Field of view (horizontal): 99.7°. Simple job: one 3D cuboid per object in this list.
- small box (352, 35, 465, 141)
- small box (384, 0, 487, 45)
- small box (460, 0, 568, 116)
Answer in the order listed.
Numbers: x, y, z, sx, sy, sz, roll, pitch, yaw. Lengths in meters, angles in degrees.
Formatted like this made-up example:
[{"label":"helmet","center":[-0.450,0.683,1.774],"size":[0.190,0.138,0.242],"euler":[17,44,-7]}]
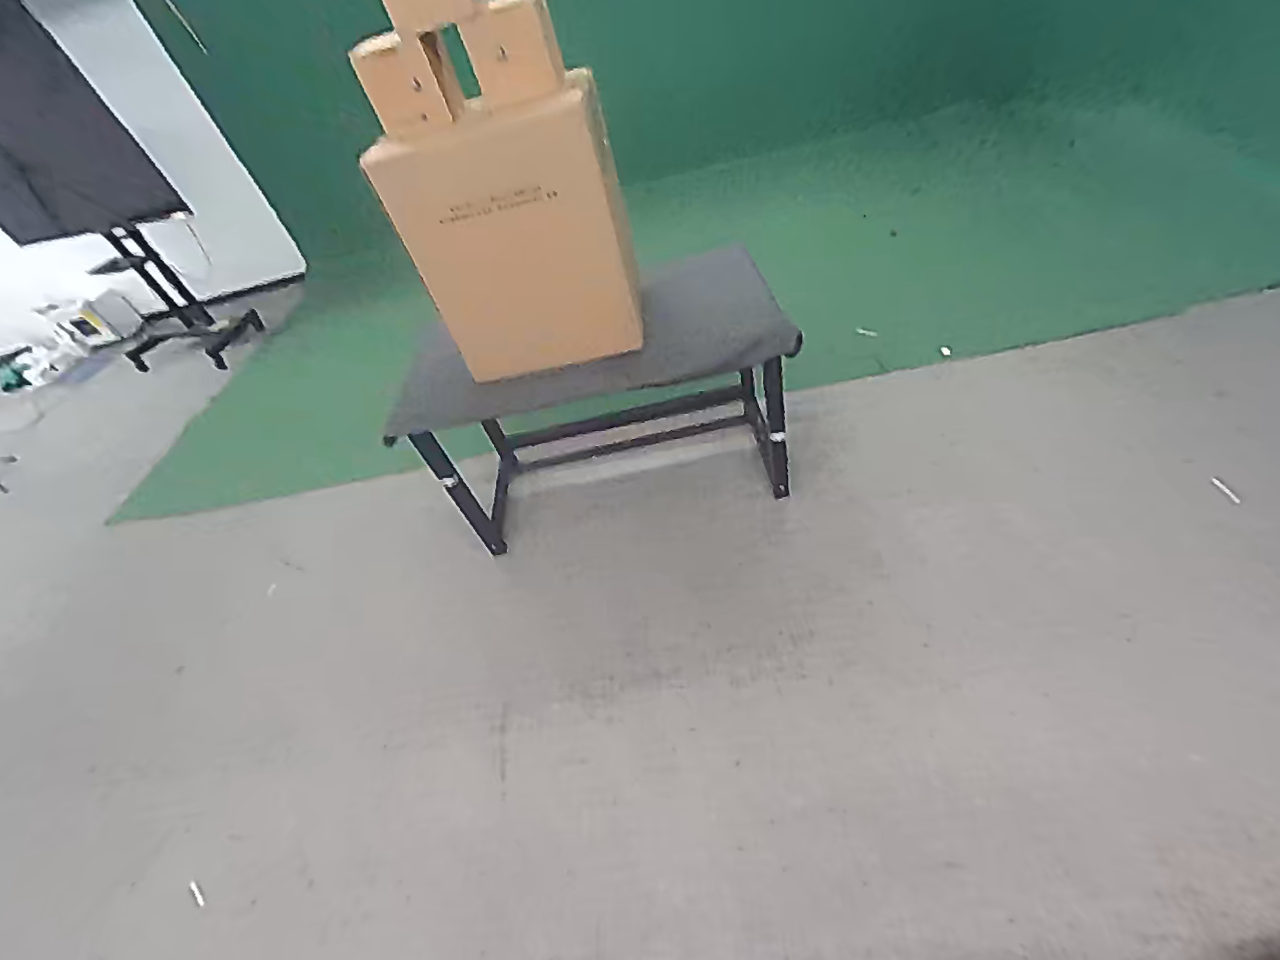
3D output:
[{"label":"small box","center":[-0.532,-0.921,1.273],"size":[0.168,0.176,0.179],"euler":[-9,45,6]},{"label":"small box","center":[-0.442,-1.053,1.139],"size":[0.179,0.176,0.168],"euler":[-11,46,8]},{"label":"small box","center":[-0.281,-0.966,1.240],"size":[0.179,0.176,0.168],"euler":[-10,47,9]}]
